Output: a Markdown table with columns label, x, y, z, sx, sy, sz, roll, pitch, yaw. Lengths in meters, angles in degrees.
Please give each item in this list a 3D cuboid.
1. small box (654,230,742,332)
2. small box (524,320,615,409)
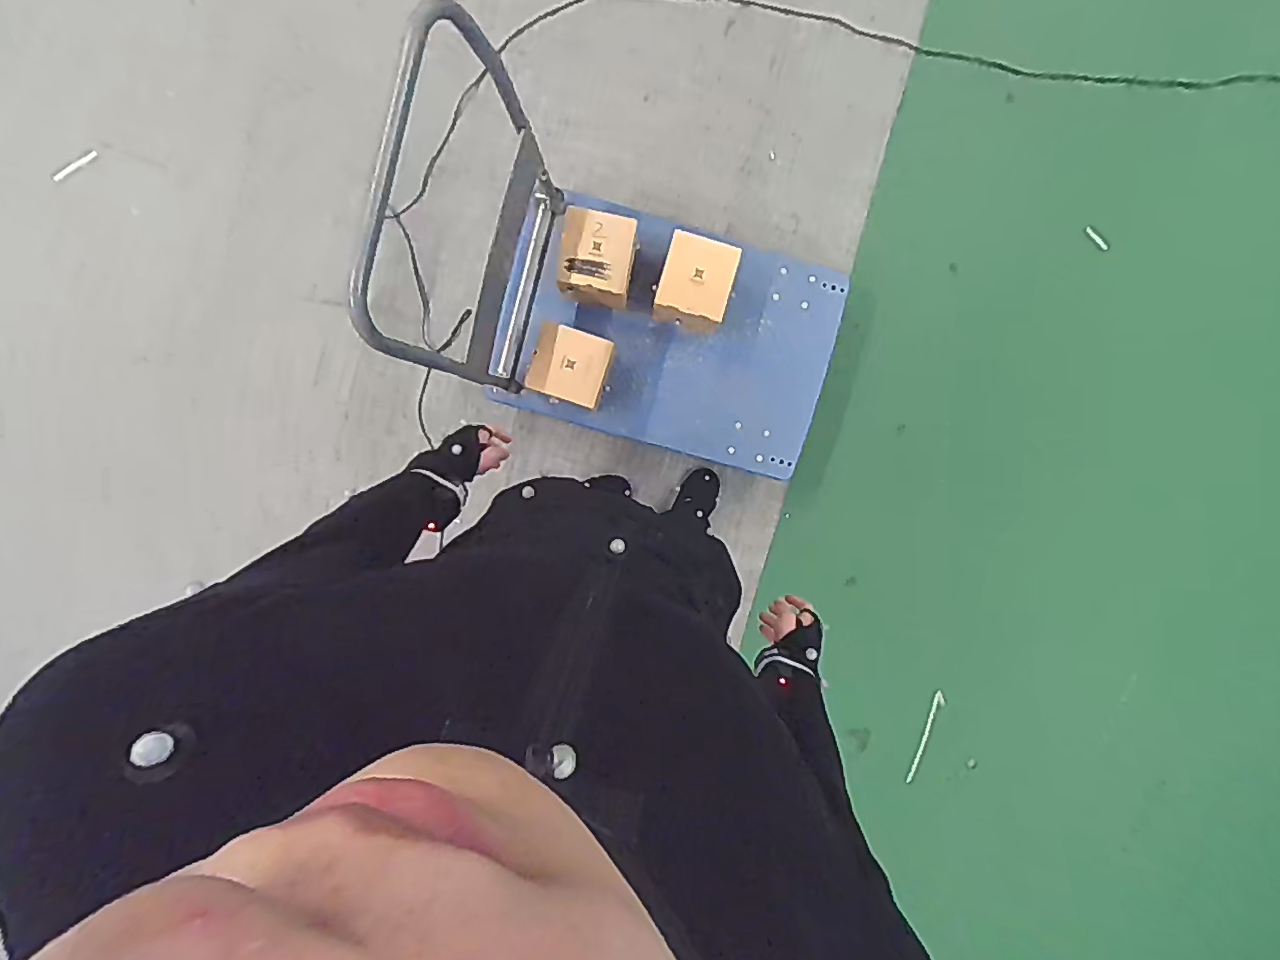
| label | x | y | z | sx | sy | sz | roll | pitch | yaw |
| --- | --- | --- | --- | --- | --- | --- | --- | --- | --- |
| small box | 0.134 | -0.483 | 1.339 | 0.168 | 0.176 | 0.179 | 16 | 96 | -3 |
| small box | -0.169 | -0.278 | 1.348 | 0.179 | 0.176 | 0.168 | 18 | 95 | -3 |
